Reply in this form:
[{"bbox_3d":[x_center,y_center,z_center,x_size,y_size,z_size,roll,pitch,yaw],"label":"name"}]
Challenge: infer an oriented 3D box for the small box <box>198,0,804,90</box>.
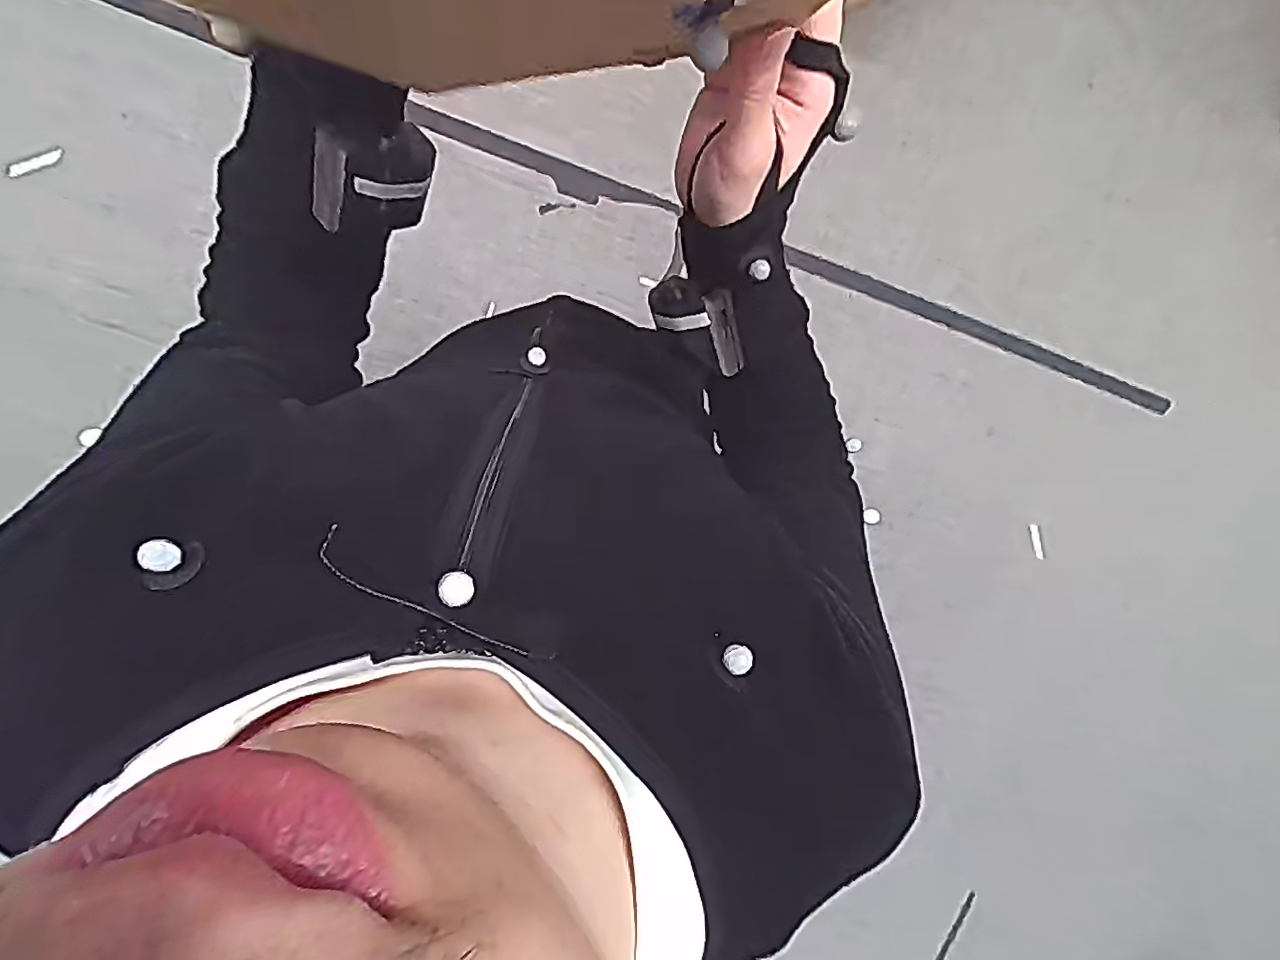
[{"bbox_3d":[-0.027,-0.222,0.141,0.168,0.176,0.179,-8,119,3],"label":"small box"}]
